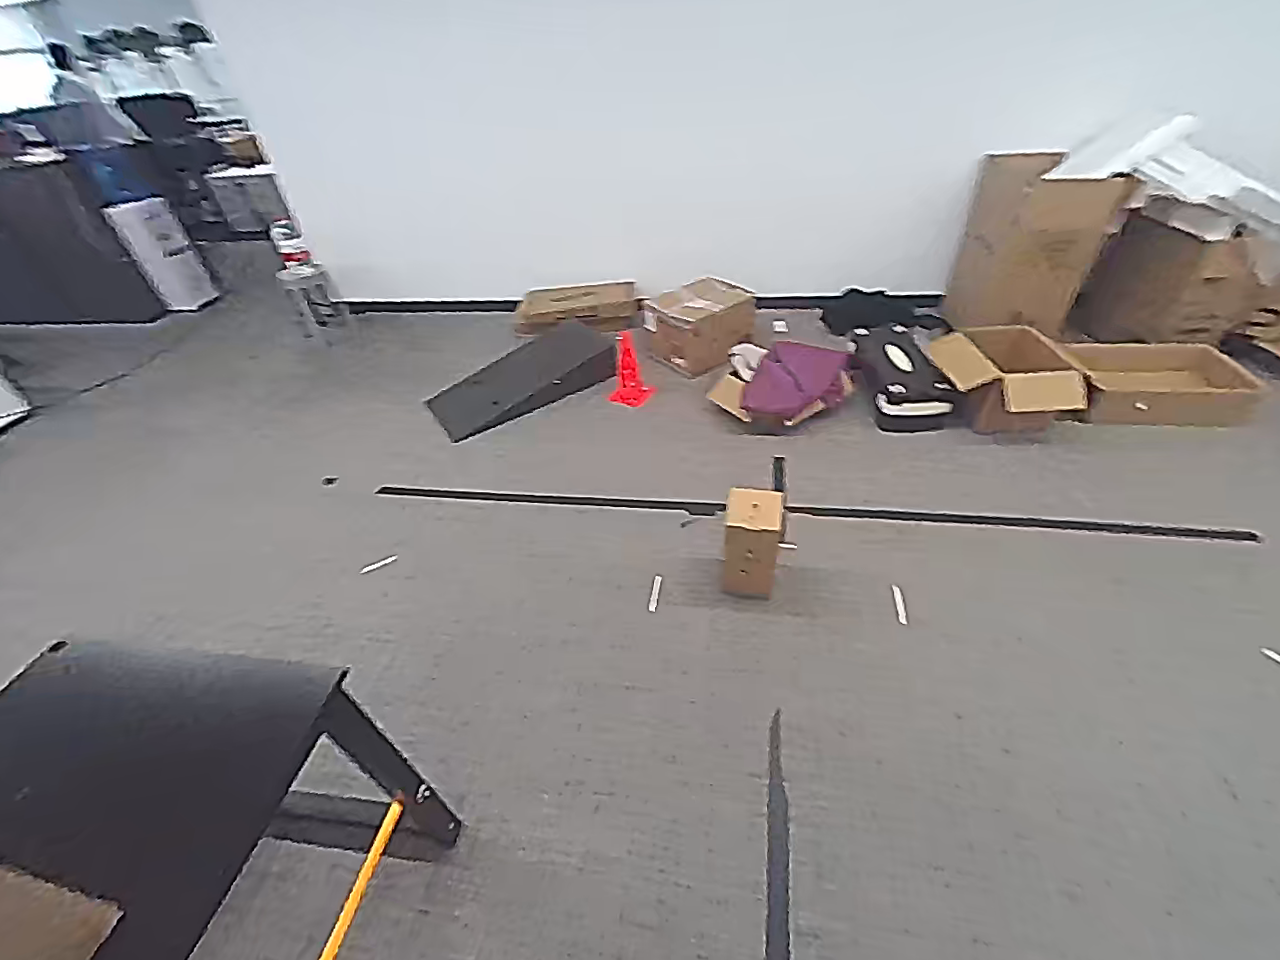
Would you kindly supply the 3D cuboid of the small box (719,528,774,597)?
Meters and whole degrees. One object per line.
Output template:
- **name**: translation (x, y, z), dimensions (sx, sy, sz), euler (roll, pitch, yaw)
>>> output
- **small box**: translation (0.364, 0.279, 1.839), dimensions (0.179, 0.176, 0.168), euler (6, 42, 13)

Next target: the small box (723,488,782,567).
- **small box**: translation (0.359, 0.152, 1.734), dimensions (0.168, 0.176, 0.179), euler (5, 42, 13)
